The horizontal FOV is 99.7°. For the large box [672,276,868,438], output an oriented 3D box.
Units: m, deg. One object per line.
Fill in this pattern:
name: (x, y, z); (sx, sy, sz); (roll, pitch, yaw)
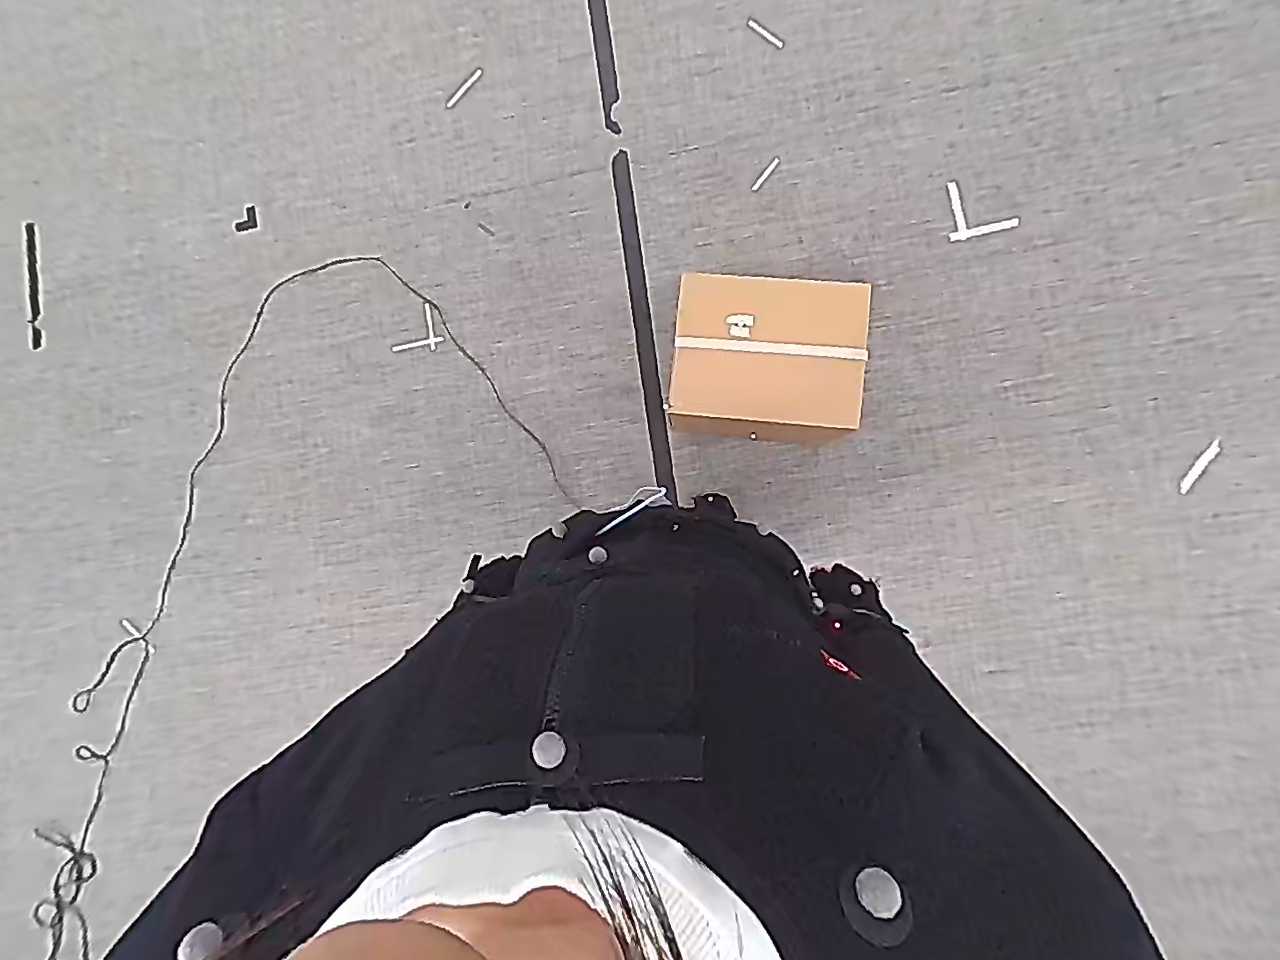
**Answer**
large box: (0.299, -0.280, 1.318); (0.408, 0.320, 0.320); (5, 87, 7)
